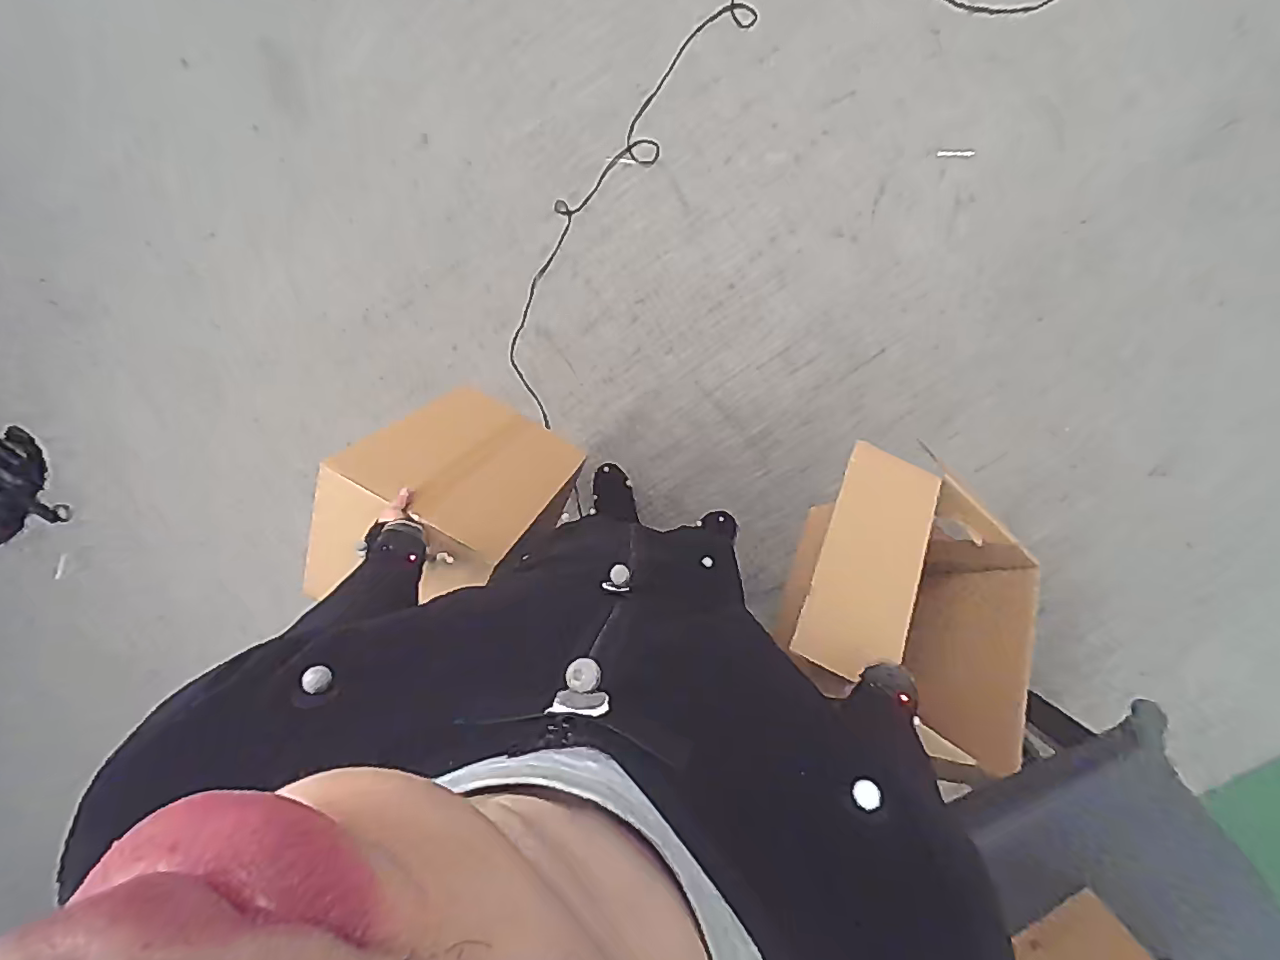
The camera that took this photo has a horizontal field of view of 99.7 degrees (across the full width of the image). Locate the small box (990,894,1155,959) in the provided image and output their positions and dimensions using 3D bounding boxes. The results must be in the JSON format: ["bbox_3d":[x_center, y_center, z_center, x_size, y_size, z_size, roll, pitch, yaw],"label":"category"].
[{"bbox_3d":[0.579,0.658,0.658,0.168,0.176,0.179,-43,85,9],"label":"small box"}]
